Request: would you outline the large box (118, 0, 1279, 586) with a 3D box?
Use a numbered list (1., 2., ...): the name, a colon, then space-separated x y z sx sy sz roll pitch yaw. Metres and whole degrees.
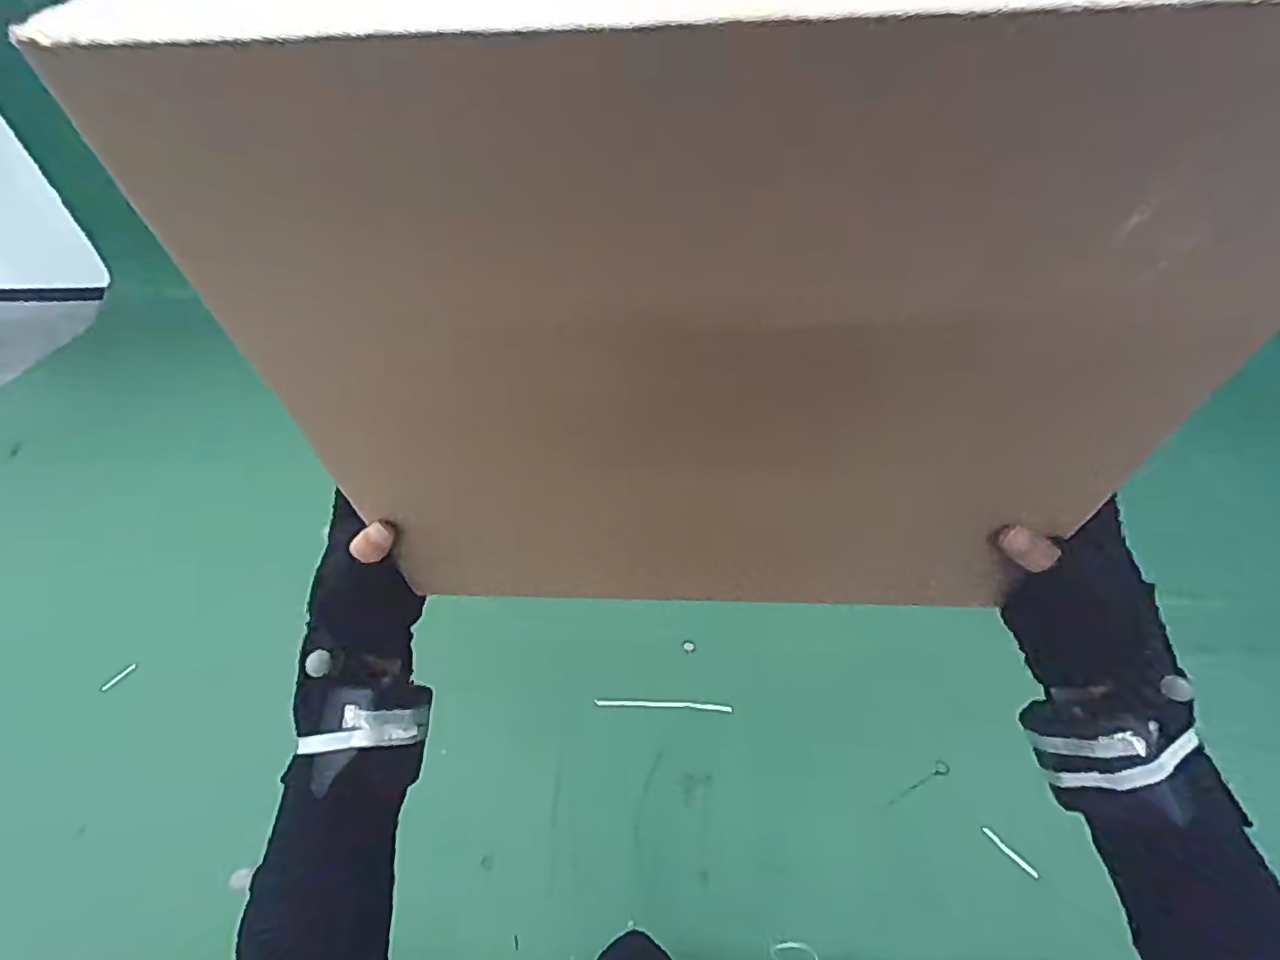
1. large box: 0.048 -0.136 0.361 0.408 0.320 0.320 1 51 1
